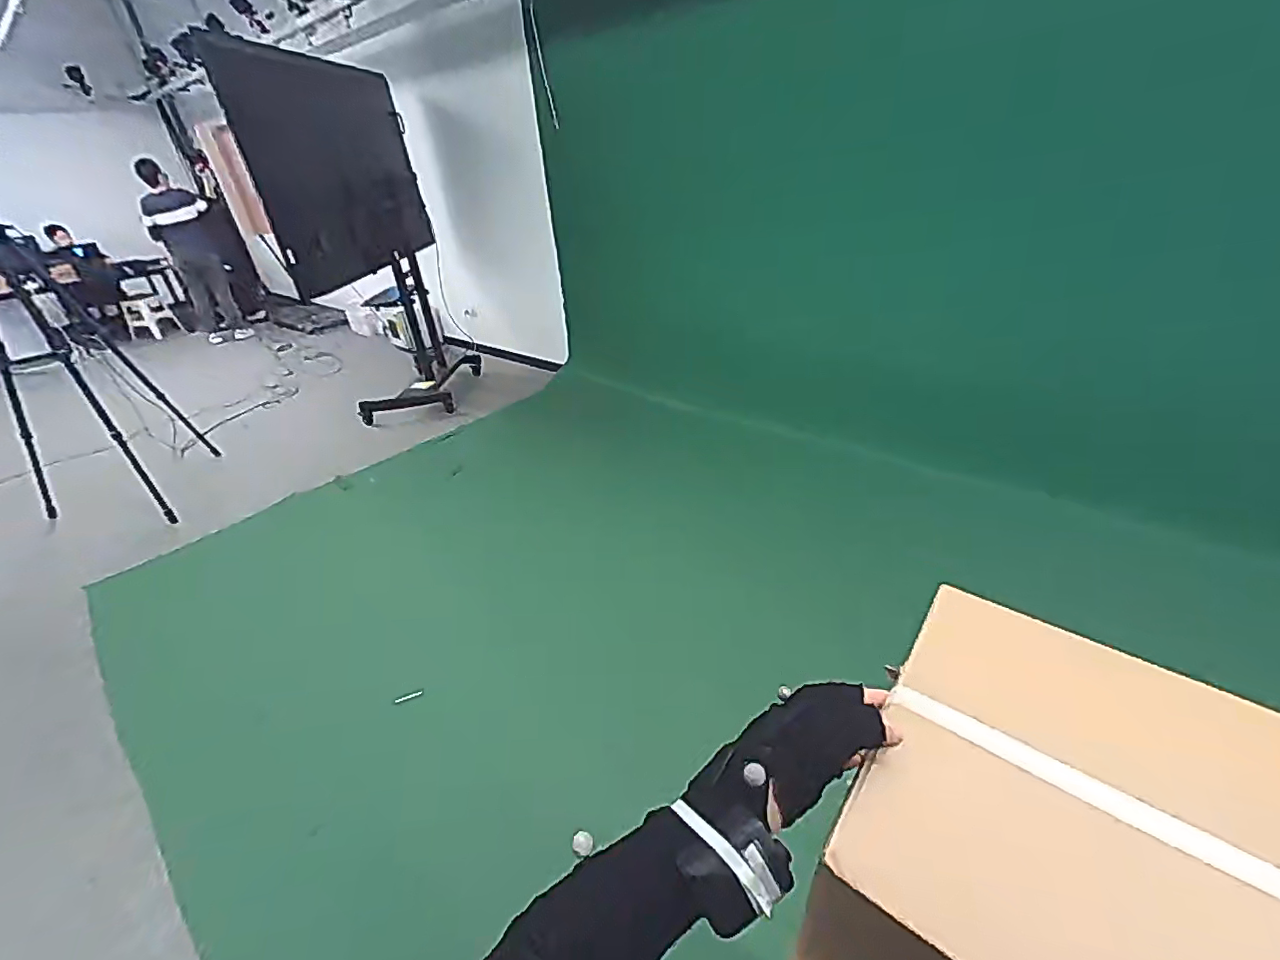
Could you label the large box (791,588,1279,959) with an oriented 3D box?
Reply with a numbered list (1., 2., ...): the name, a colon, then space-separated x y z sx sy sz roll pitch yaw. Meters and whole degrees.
1. large box: 0.386 0.367 0.459 0.408 0.320 0.320 22 45 32
